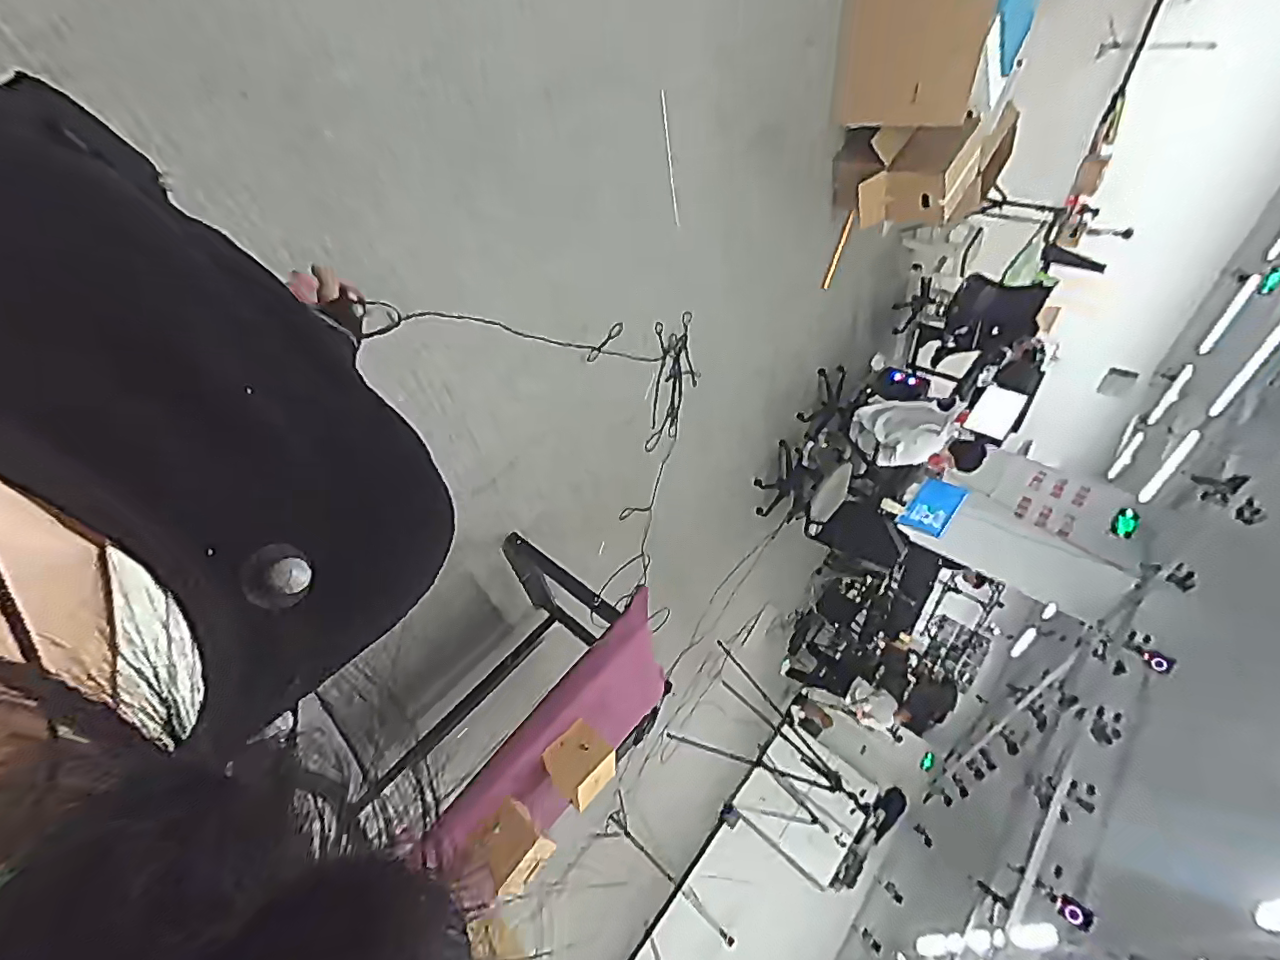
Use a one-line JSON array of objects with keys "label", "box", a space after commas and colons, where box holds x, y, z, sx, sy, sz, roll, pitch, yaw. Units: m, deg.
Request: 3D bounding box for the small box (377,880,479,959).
[{"label": "small box", "box": [-0.587, 1.260, 1.501, 0.179, 0.176, 0.168, -42, 145, -28]}]

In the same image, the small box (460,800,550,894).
[{"label": "small box", "box": [-0.408, 1.109, 1.640, 0.168, 0.176, 0.179, -46, 145, -24]}]

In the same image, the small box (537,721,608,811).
[{"label": "small box", "box": [-0.221, 0.926, 1.768, 0.168, 0.176, 0.179, -34, 141, -38]}]
